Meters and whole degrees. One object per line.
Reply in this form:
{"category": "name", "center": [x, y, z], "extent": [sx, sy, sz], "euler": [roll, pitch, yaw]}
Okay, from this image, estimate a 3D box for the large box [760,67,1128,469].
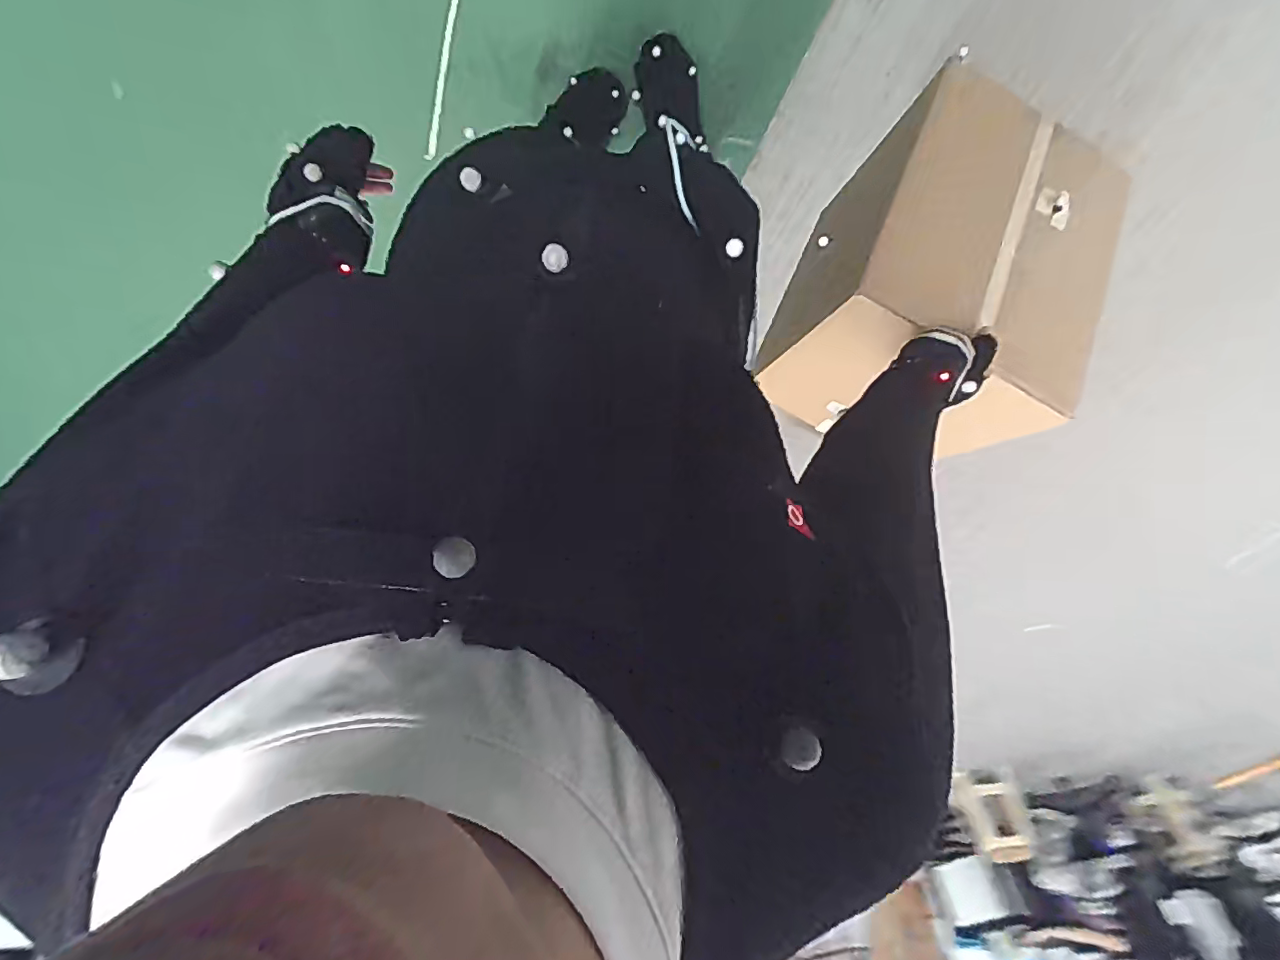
{"category": "large box", "center": [0.434, -0.281, 0.823], "extent": [0.320, 0.408, 0.320], "euler": [27, 164, -7]}
